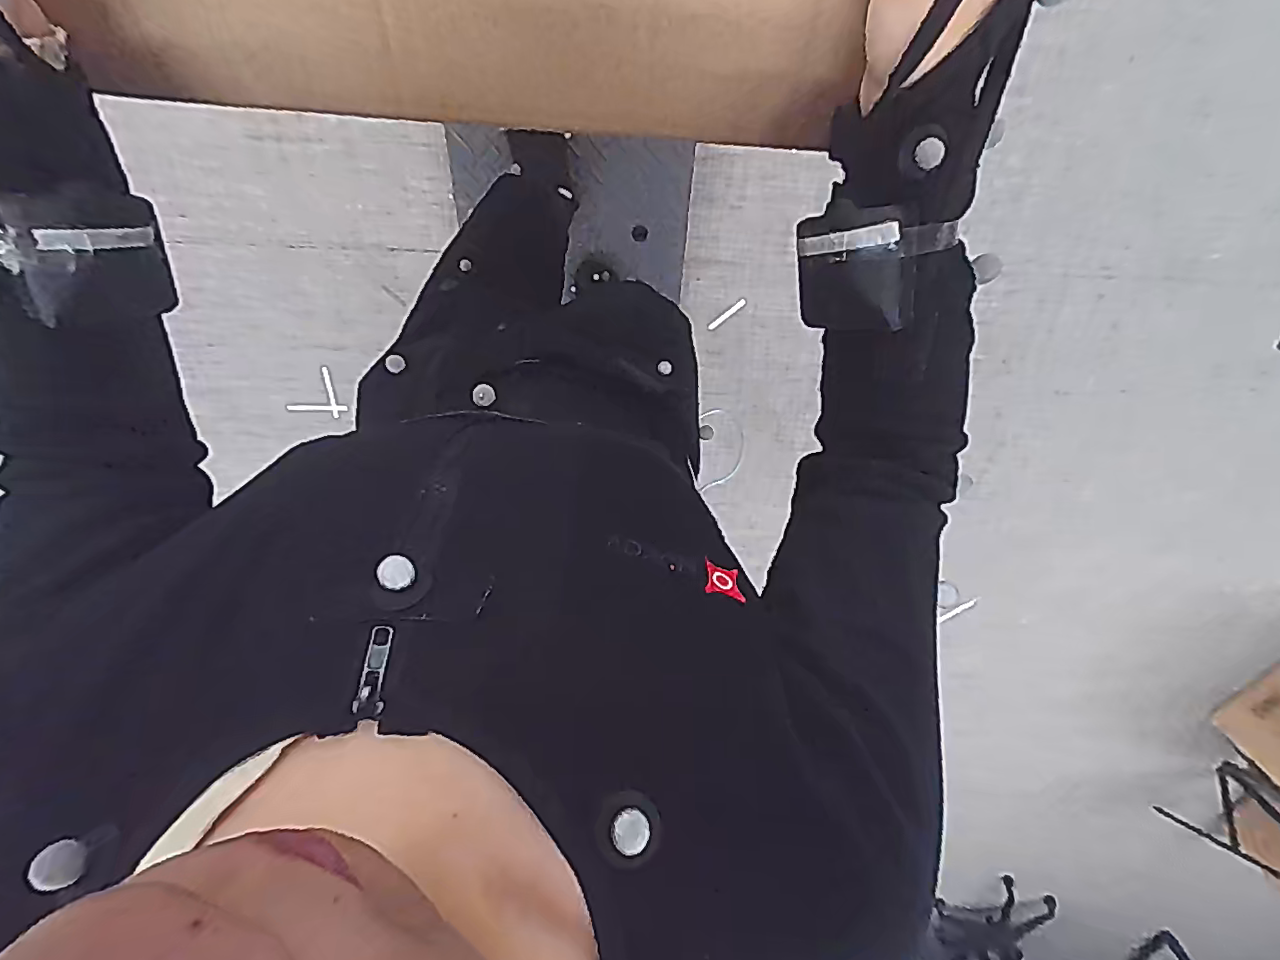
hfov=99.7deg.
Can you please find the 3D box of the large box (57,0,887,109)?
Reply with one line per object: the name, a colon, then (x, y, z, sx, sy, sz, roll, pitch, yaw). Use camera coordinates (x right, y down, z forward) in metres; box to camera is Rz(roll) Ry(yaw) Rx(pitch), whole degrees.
large box: (-0.076, -0.417, 0.249, 0.408, 0.320, 0.320, 1, 147, -4)
